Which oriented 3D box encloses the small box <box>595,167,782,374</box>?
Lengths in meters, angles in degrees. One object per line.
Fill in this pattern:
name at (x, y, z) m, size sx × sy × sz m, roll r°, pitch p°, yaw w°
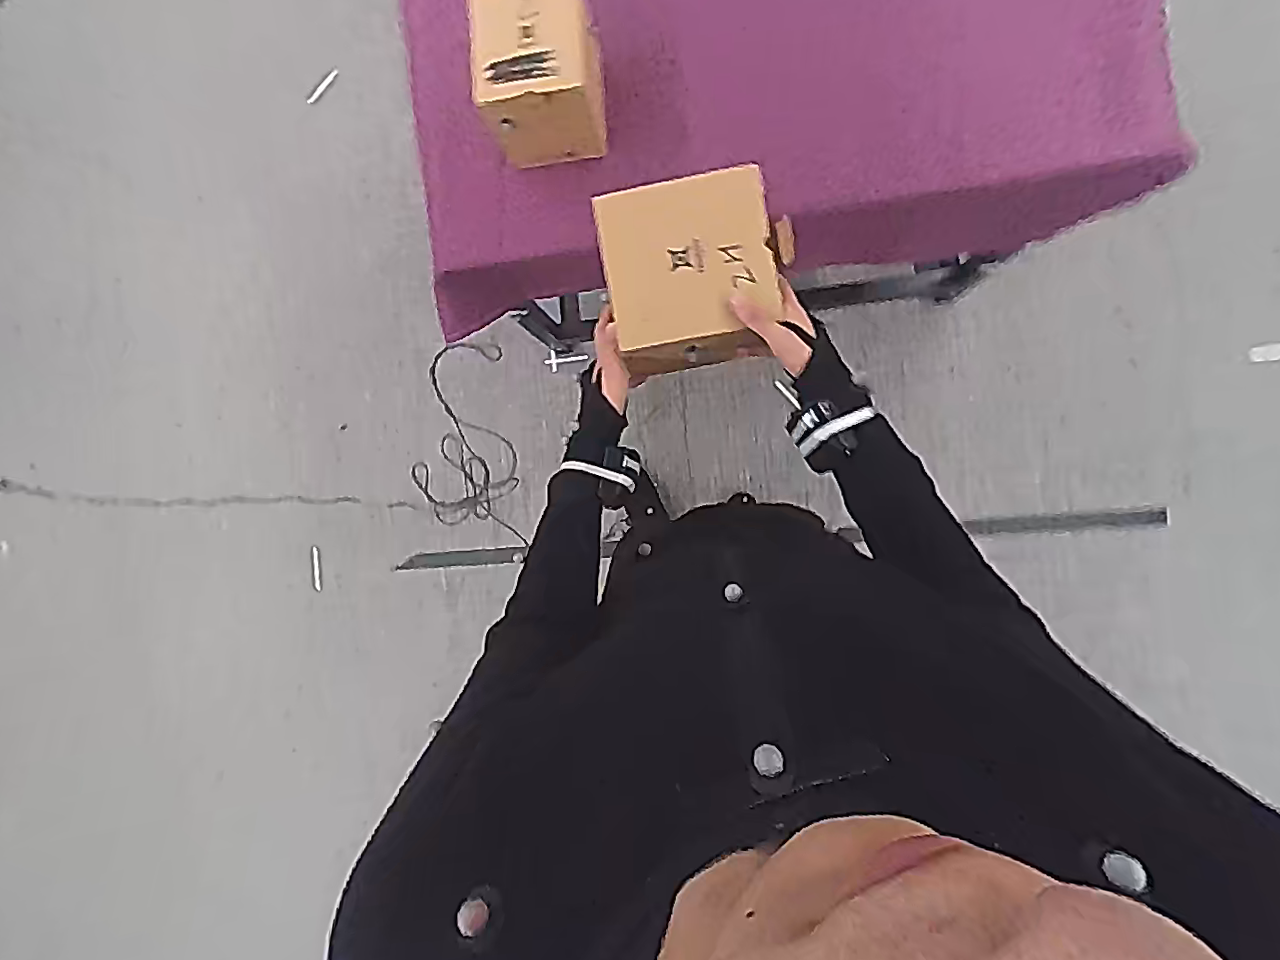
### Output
small box at (0.054, -0.229, 0.639) m, size 0.179 × 0.176 × 0.168 m, roll -9°, pitch 91°, yaw 2°
